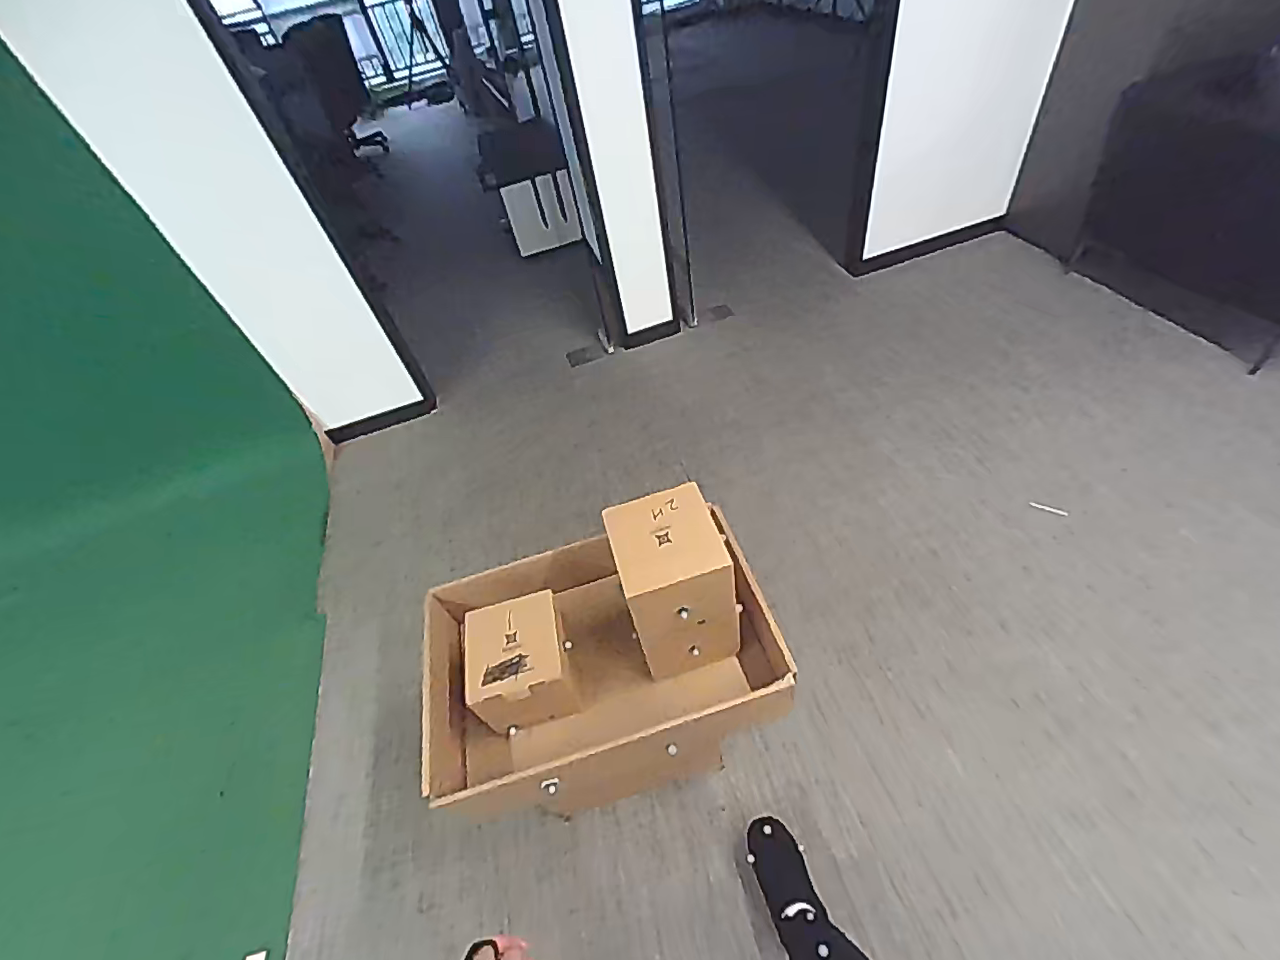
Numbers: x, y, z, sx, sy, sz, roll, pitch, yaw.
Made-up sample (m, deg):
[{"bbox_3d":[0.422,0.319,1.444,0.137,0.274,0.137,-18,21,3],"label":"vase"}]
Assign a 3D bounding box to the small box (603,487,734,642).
[{"bbox_3d":[0.049,0.147,0.893,0.168,0.176,0.179,-17,47,-3],"label":"small box"}]
